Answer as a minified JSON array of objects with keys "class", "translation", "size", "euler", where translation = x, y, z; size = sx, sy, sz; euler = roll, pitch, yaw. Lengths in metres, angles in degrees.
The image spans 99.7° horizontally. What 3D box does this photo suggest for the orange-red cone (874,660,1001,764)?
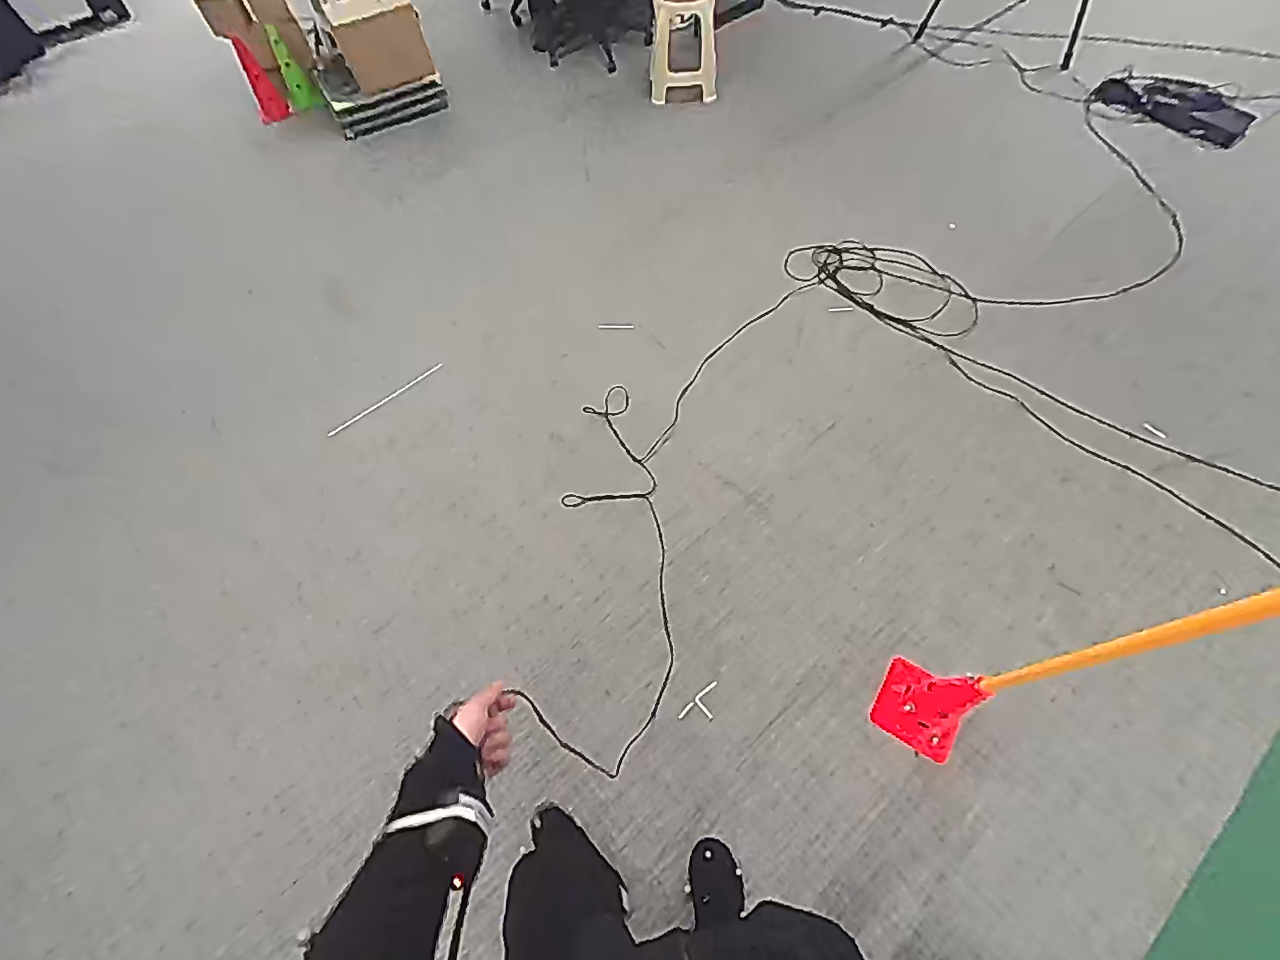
[{"class":"orange-red cone","translation":[0.718,0.508,1.246],"size":[0.198,0.360,0.199],"euler":[30,65,18]}]
